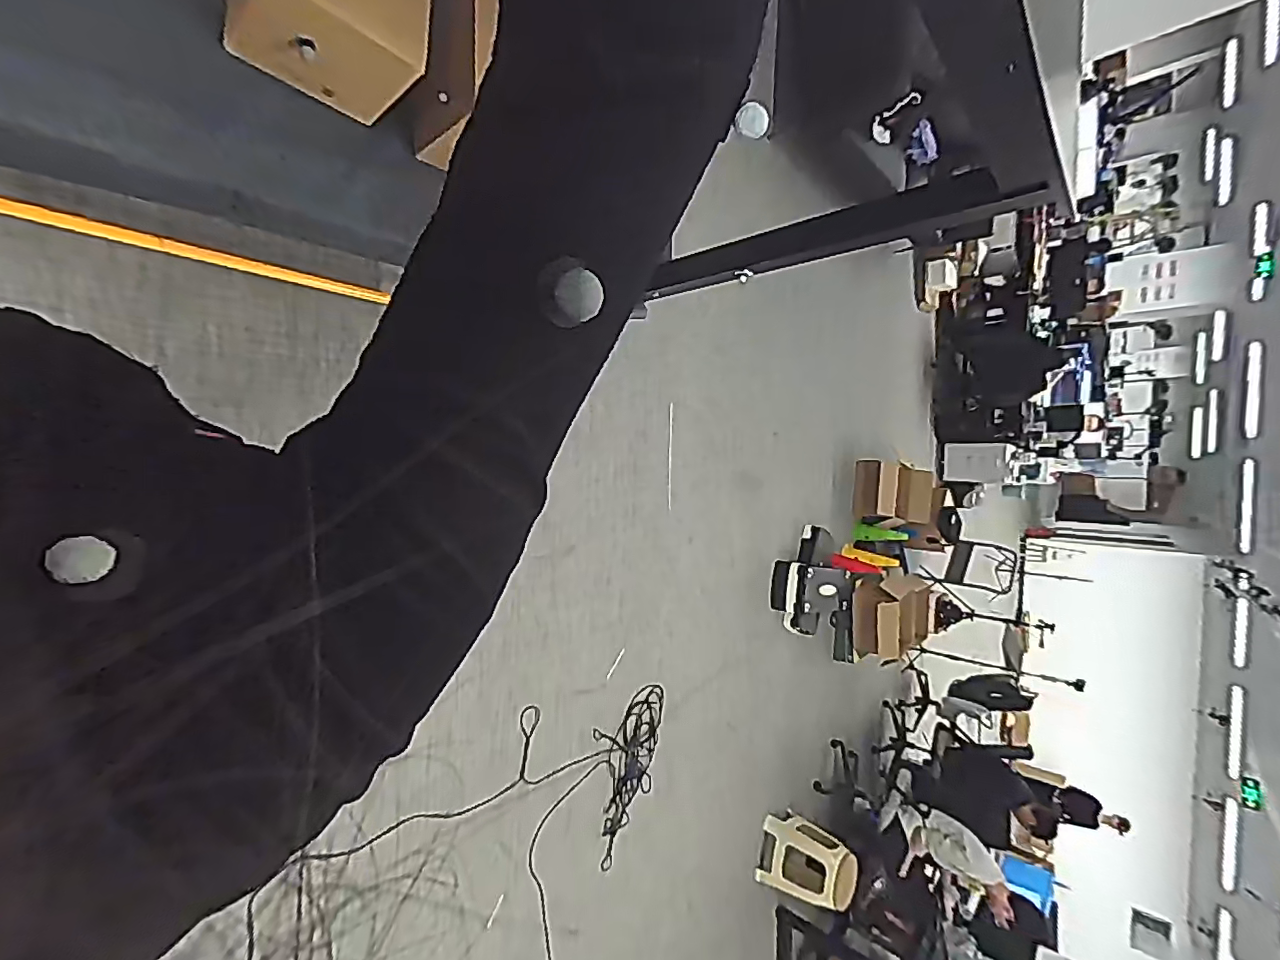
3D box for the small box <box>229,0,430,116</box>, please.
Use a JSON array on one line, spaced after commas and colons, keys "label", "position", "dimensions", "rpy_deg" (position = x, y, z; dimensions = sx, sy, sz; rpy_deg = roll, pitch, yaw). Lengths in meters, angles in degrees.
[{"label": "small box", "position": [-0.365, -0.582, 0.640], "dimensions": [0.168, 0.176, 0.179], "rpy_deg": [5, 88, -48]}]
